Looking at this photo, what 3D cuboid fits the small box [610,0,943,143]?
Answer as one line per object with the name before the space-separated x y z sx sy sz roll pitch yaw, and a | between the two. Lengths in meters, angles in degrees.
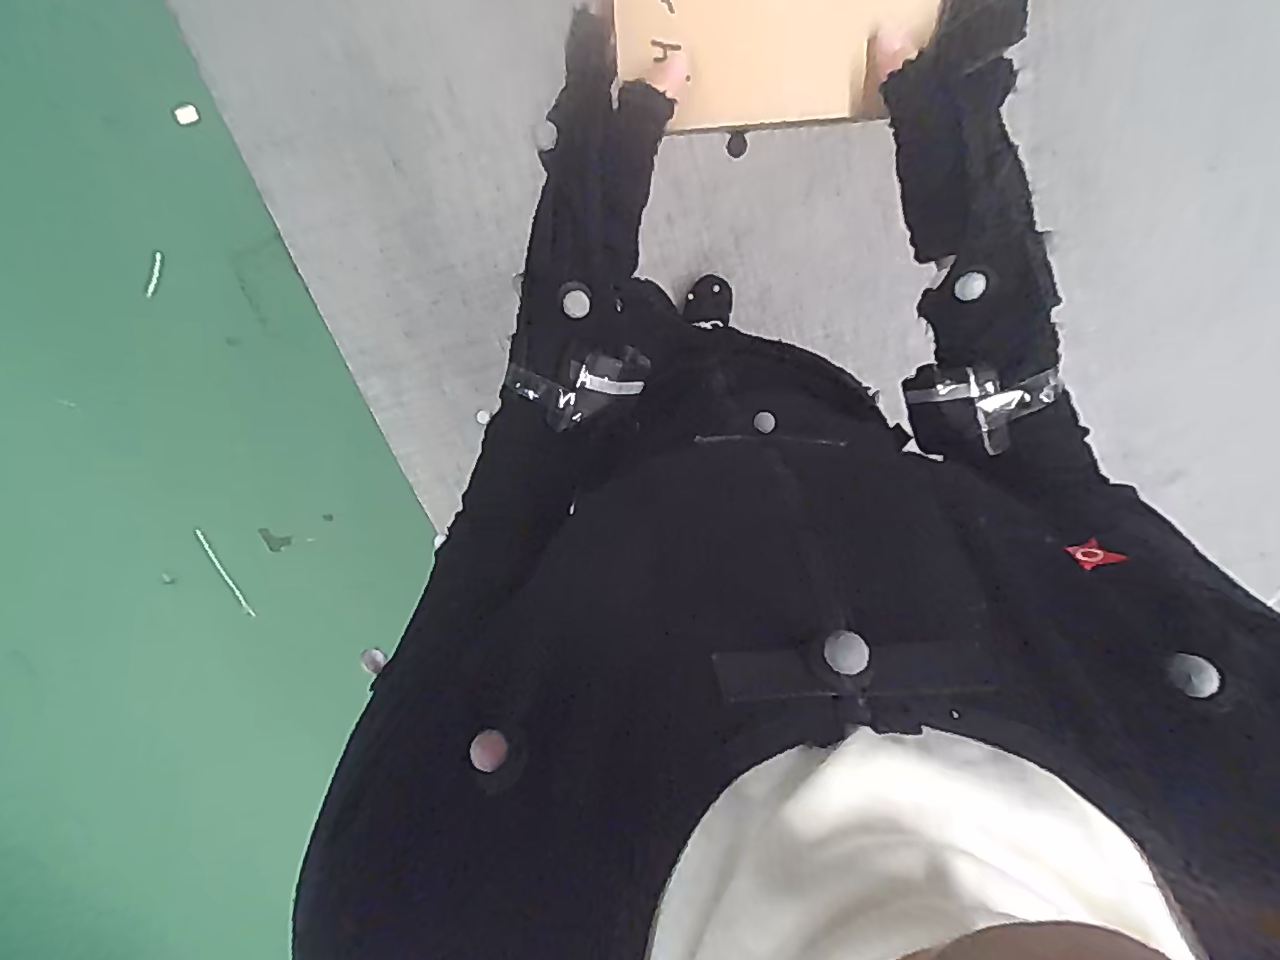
small box | 0.069 -0.315 0.340 0.179 0.176 0.168 -4 119 0
